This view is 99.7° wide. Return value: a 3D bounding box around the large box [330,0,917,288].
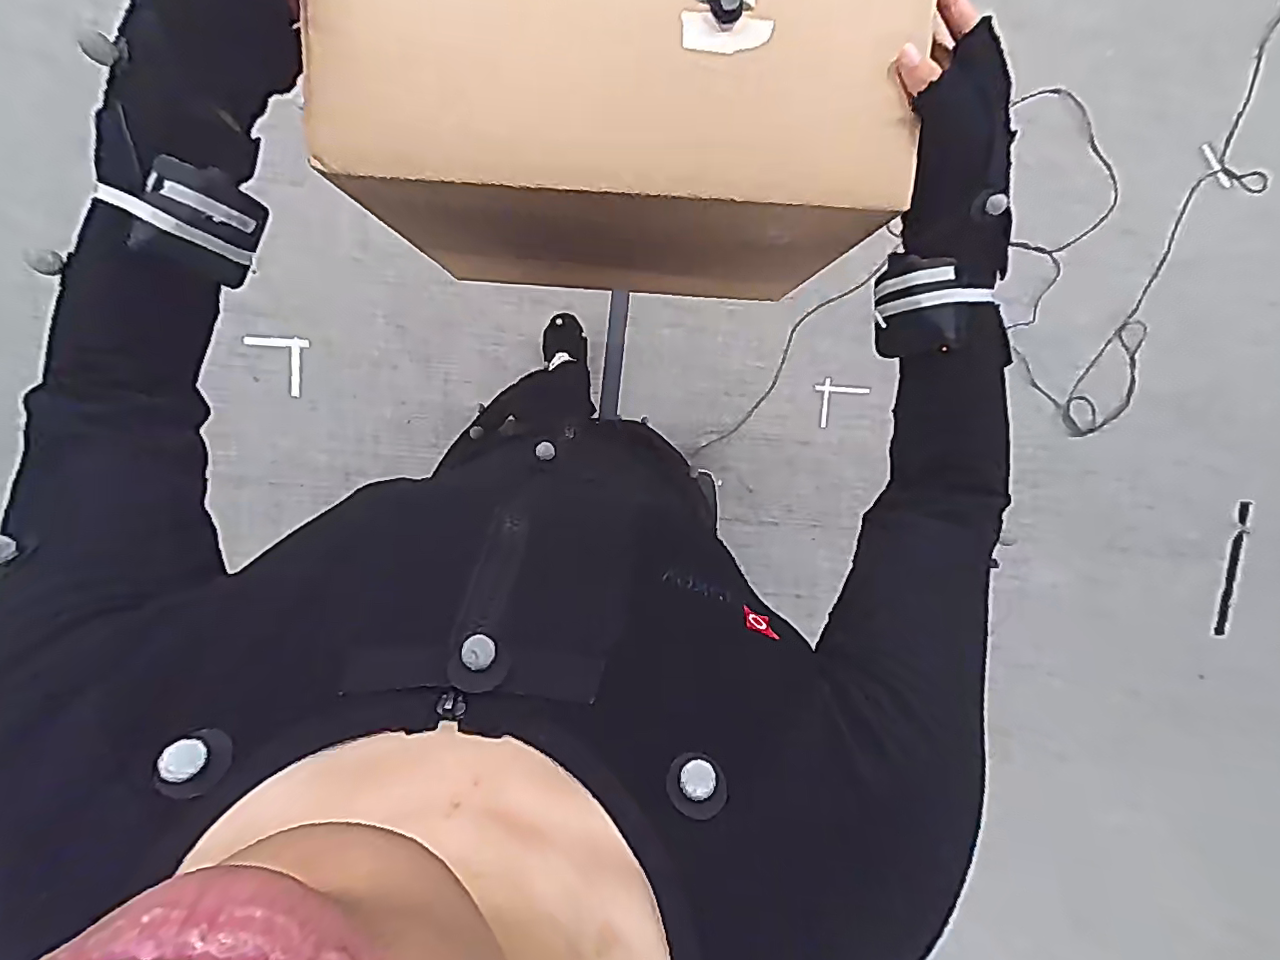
[{"bbox_3d":[-0.013,-0.379,0.508,0.408,0.320,0.320,3,98,-3],"label":"large box"}]
